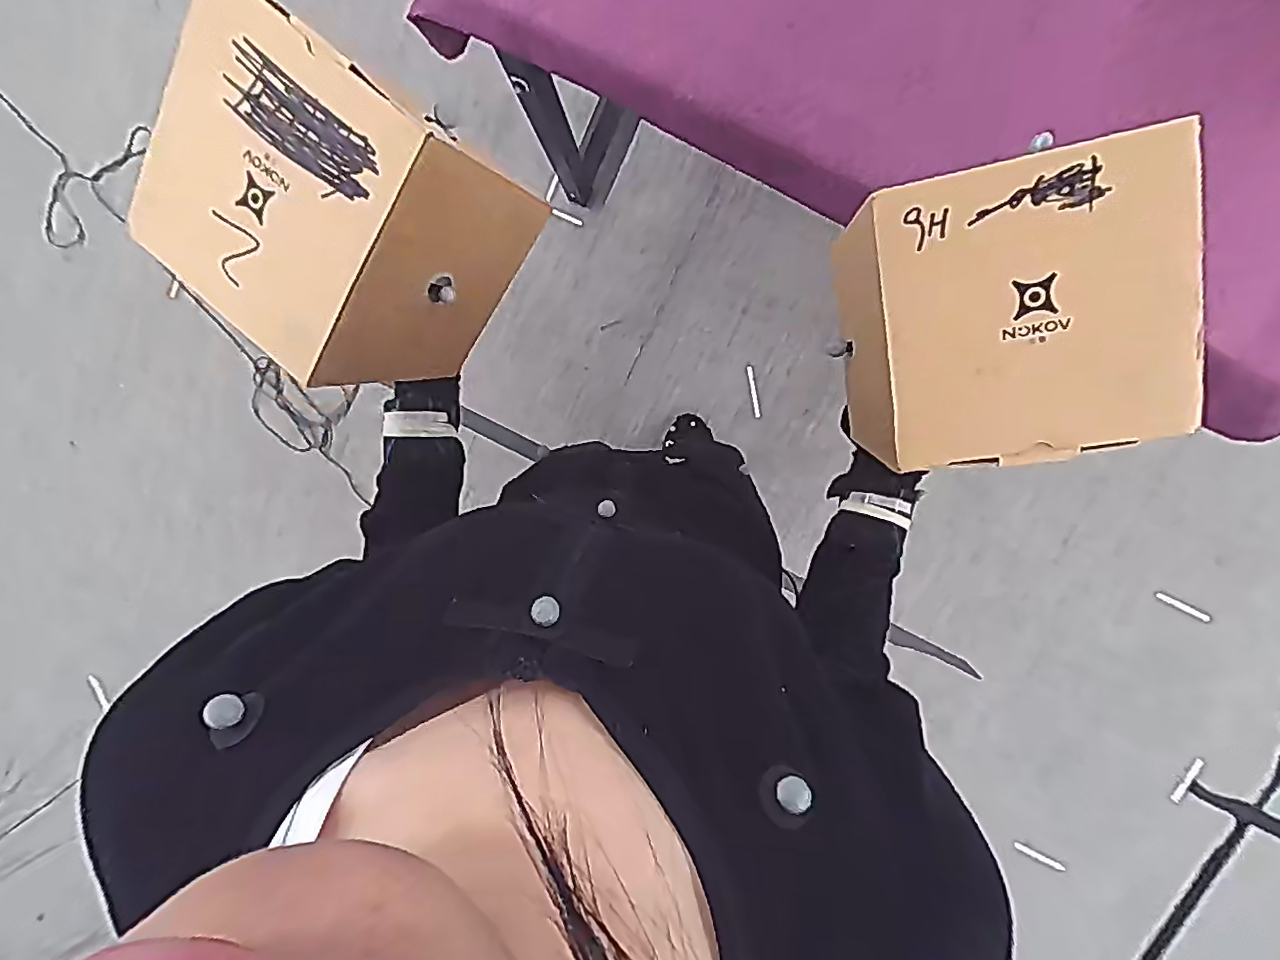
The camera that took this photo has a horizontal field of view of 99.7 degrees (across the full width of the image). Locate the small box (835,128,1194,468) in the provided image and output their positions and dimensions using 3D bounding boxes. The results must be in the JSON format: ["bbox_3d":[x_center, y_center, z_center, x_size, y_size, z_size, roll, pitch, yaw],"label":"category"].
[{"bbox_3d":[0.249,-0.118,0.404,0.168,0.176,0.179,-7,101,12],"label":"small box"}]
